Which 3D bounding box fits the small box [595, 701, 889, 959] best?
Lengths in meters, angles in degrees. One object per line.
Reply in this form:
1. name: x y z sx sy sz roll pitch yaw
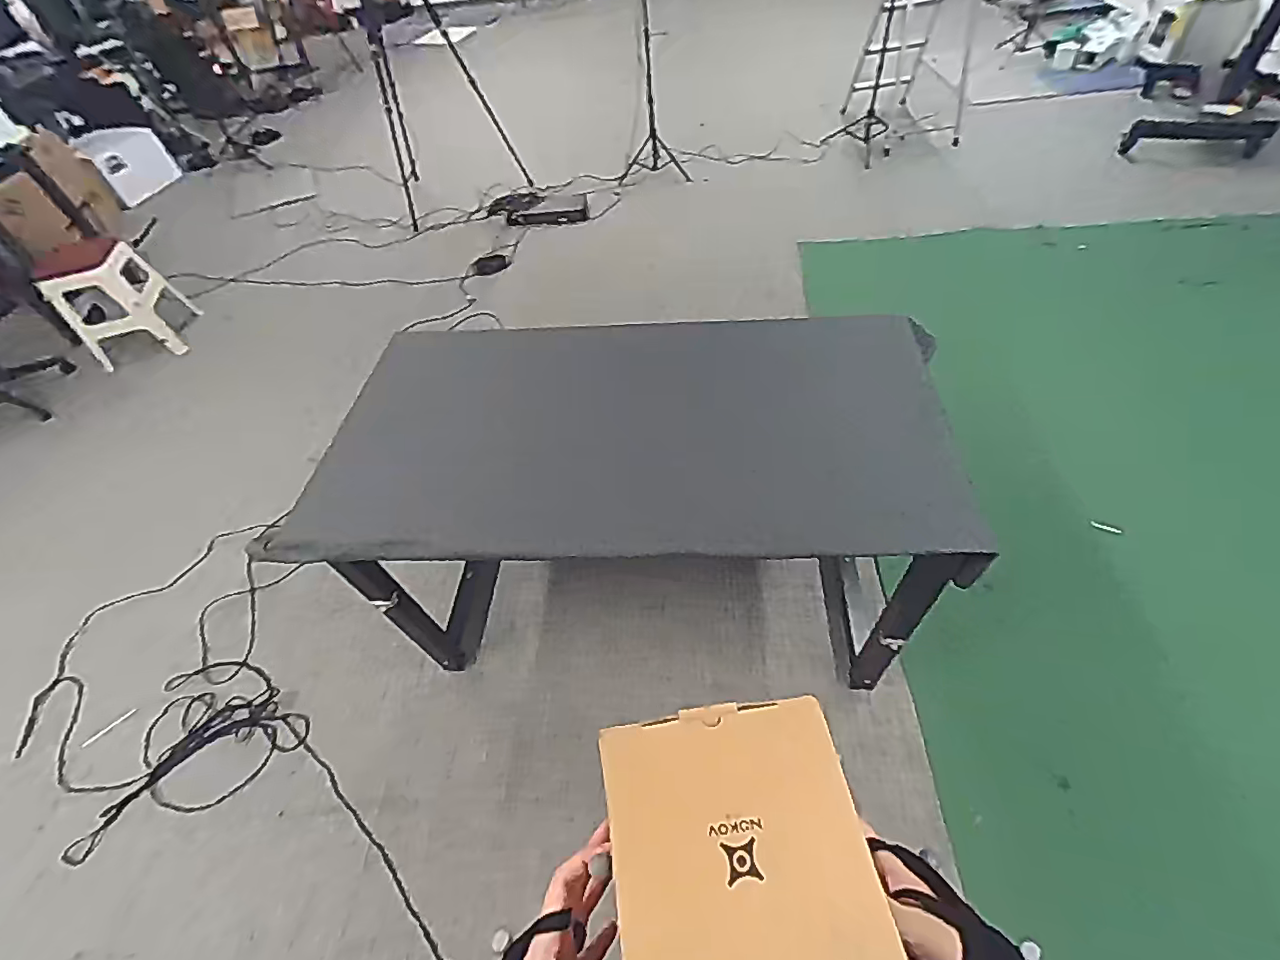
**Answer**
1. small box: 0.059 0.292 0.410 0.168 0.176 0.179 -6 49 -4
